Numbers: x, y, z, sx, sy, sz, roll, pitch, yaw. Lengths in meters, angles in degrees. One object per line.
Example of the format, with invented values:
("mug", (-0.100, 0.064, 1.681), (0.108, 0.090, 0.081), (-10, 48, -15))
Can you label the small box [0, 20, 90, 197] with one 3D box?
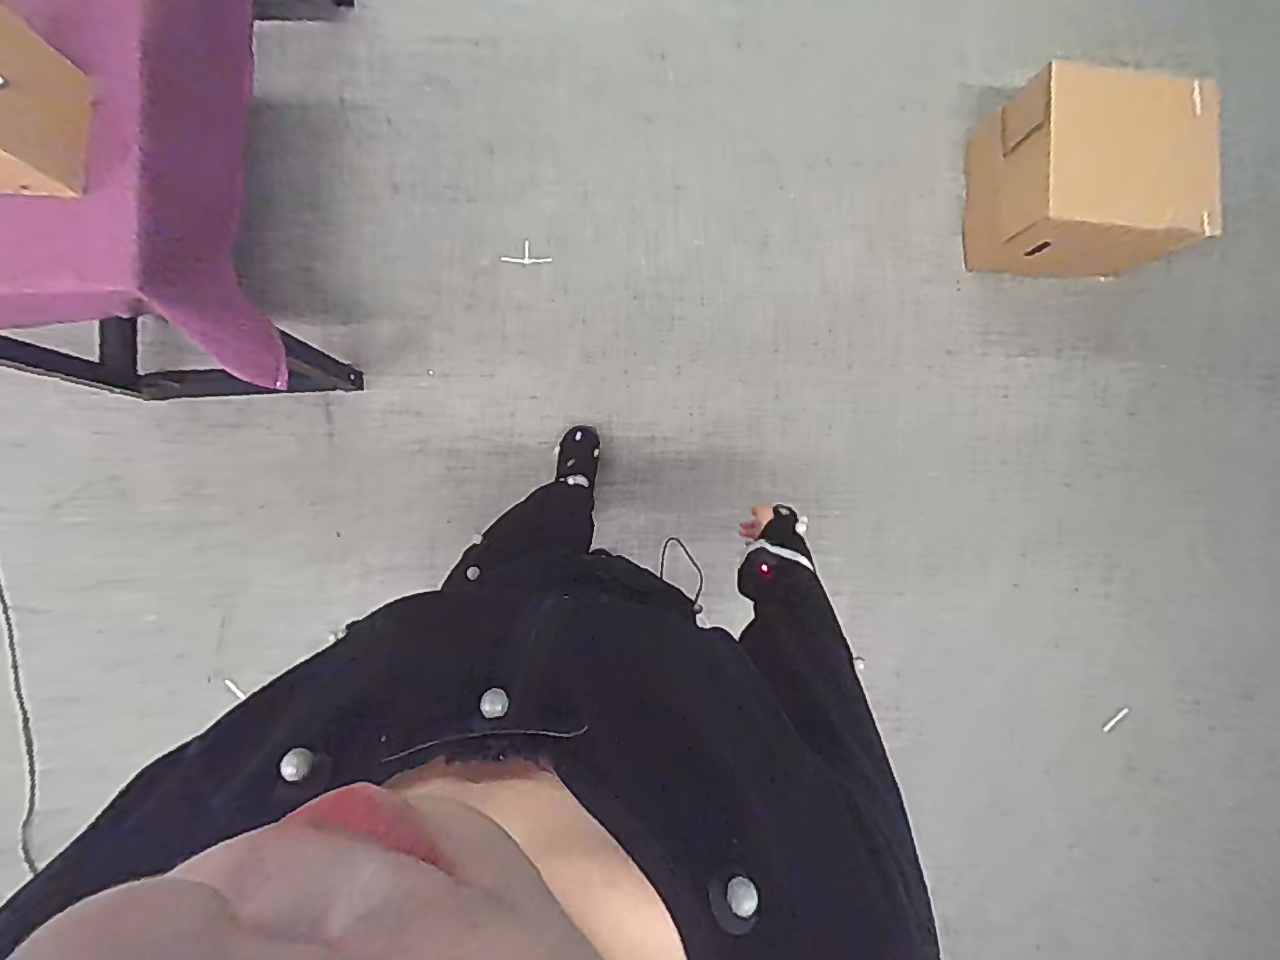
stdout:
("small box", (-0.861, -0.487, 0.684), (0.168, 0.176, 0.179), (1, 86, -3))
